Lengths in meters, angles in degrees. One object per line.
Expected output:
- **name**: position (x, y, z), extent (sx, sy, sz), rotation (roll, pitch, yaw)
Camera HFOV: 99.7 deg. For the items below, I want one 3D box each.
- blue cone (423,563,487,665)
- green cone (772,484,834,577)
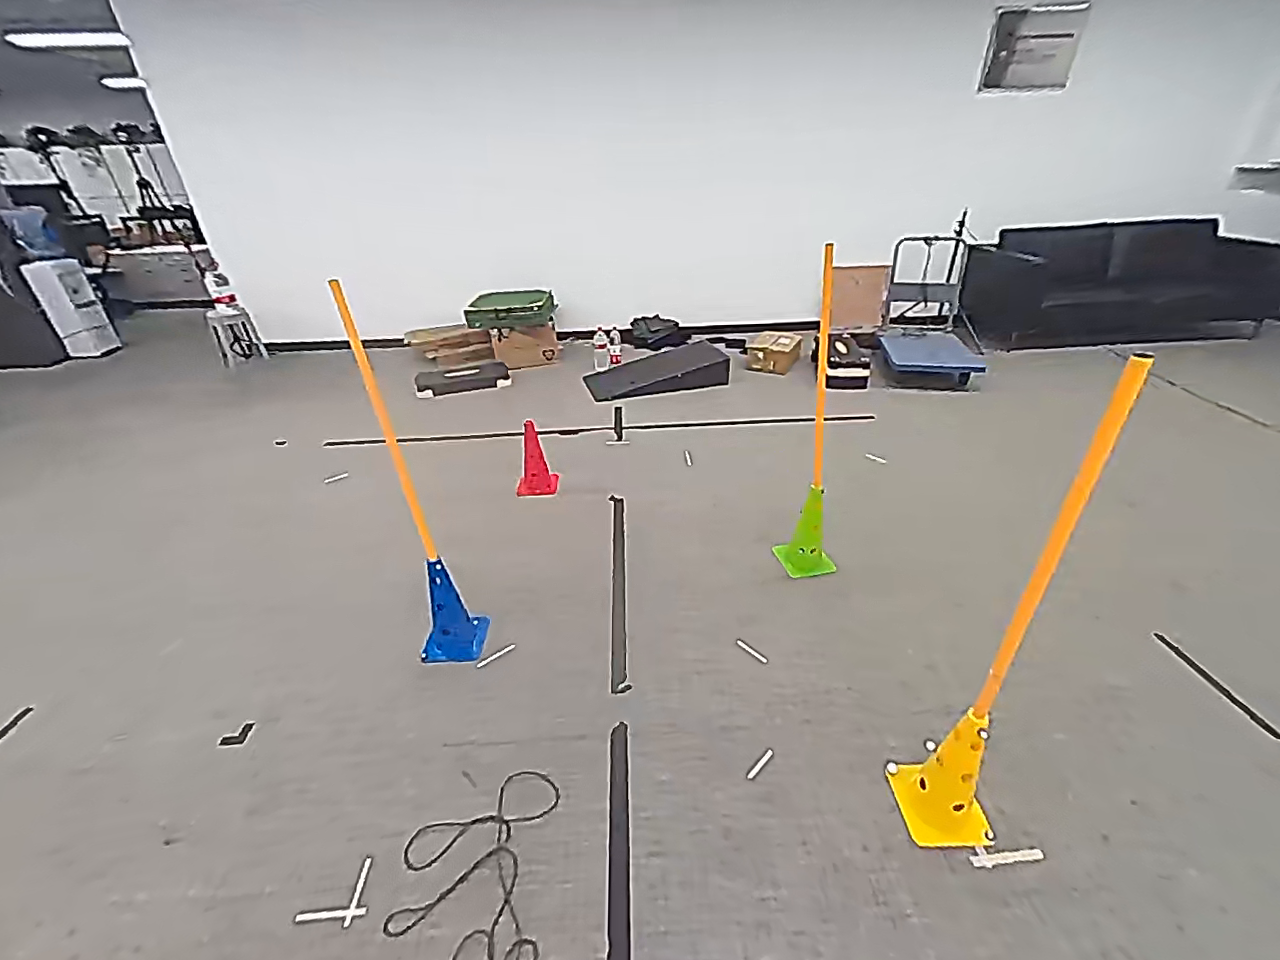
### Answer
- **blue cone**: position (-0.643, 0.423, 1.794), extent (0.193, 0.380, 0.192), rotation (-2, 31, 1)
- **green cone**: position (0.659, 0.172, 2.116), extent (0.200, 0.368, 0.202), rotation (-9, 33, -10)
